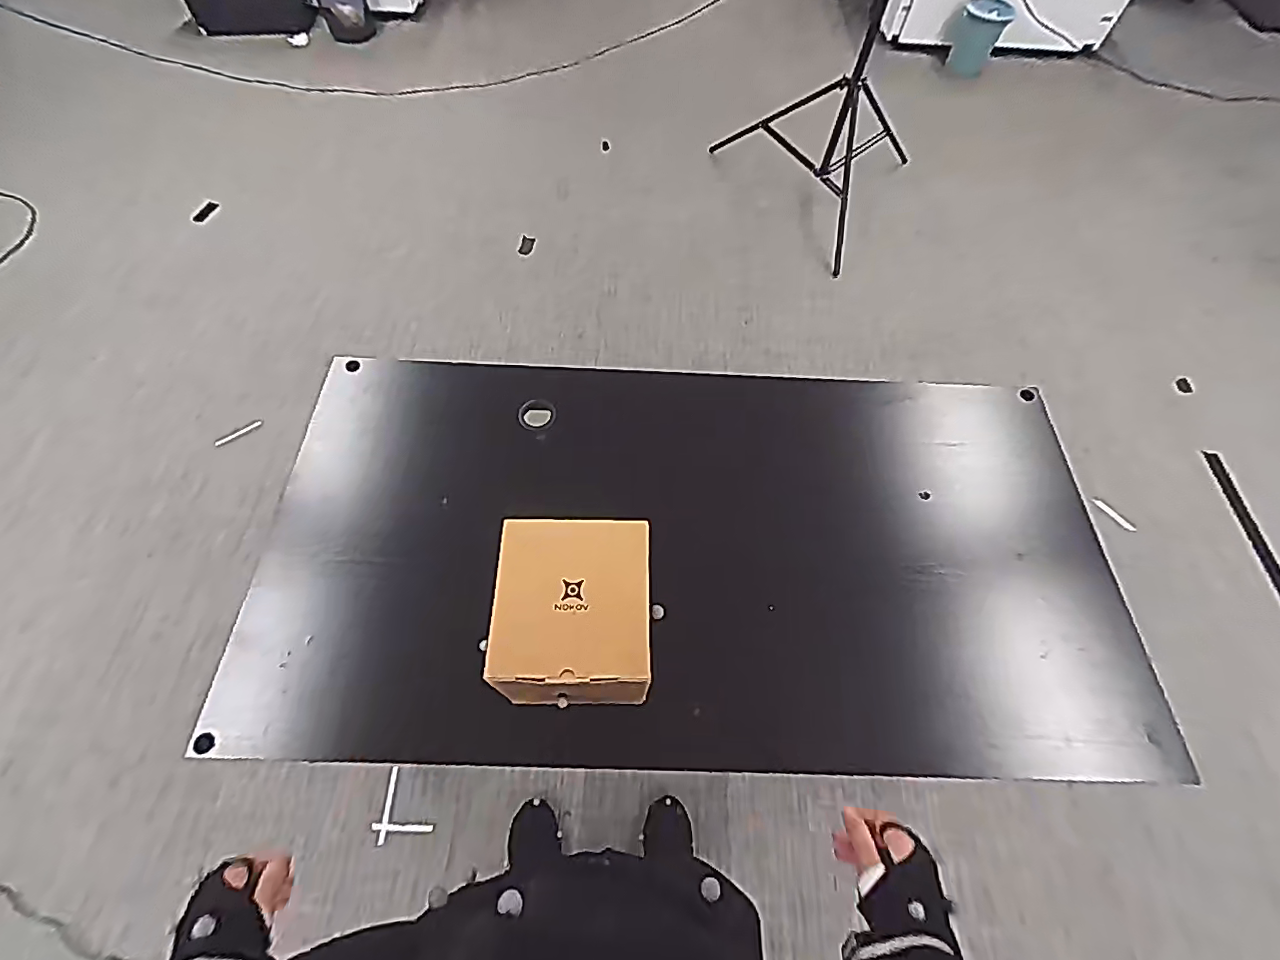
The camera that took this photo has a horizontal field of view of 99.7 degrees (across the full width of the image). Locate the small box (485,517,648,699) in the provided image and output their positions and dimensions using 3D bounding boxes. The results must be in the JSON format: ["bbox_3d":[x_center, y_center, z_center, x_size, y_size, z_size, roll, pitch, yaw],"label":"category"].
[{"bbox_3d":[-0.077,0.158,0.647,0.168,0.176,0.179,1,62,-2],"label":"small box"}]
